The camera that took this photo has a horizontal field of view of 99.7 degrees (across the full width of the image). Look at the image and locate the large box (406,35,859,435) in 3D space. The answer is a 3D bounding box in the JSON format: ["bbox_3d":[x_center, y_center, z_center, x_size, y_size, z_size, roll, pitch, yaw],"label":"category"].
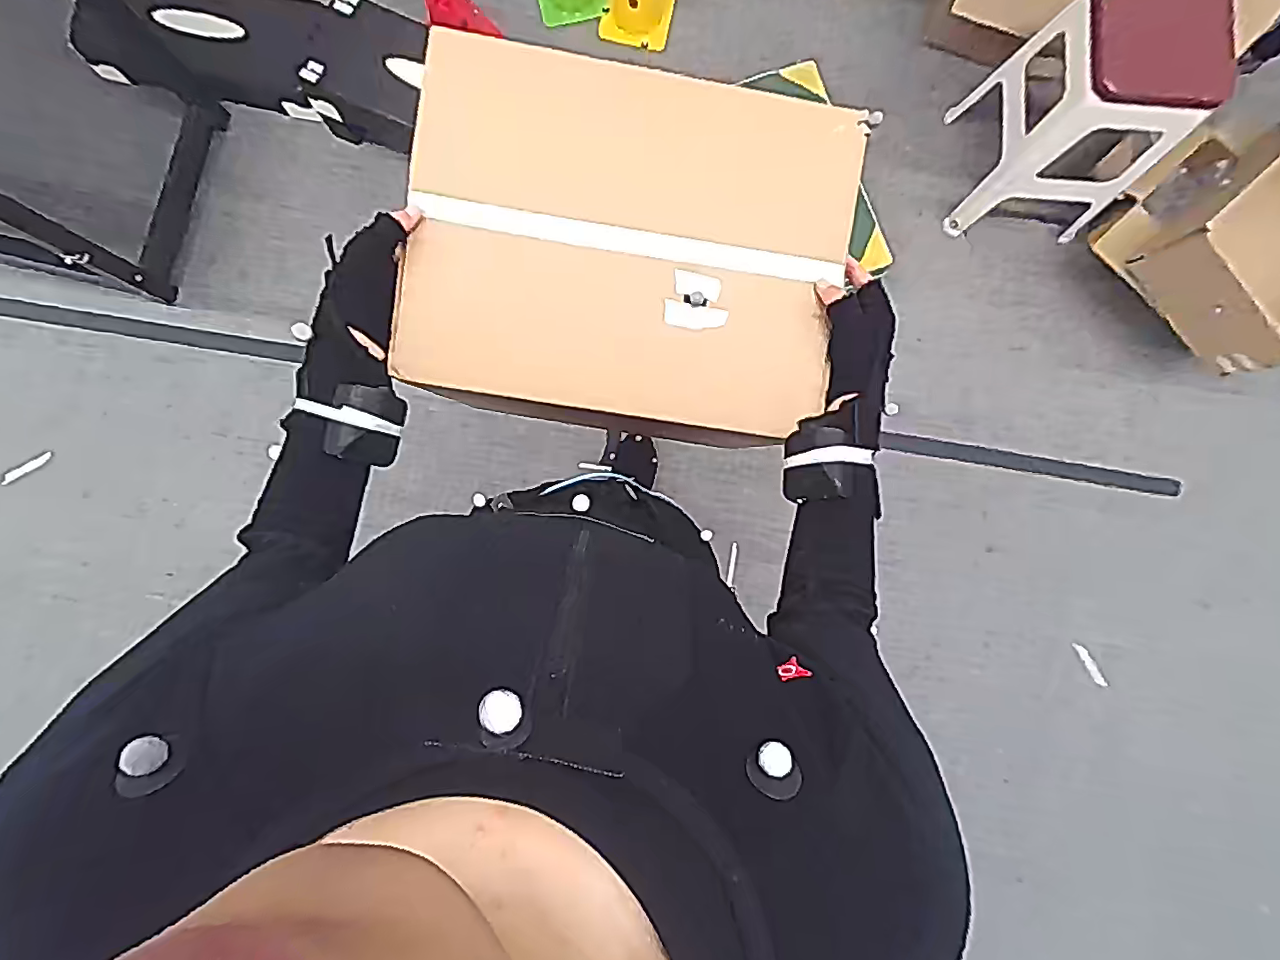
[{"bbox_3d":[-0.016,-0.237,0.658,0.408,0.320,0.320,8,93,-5],"label":"large box"}]
